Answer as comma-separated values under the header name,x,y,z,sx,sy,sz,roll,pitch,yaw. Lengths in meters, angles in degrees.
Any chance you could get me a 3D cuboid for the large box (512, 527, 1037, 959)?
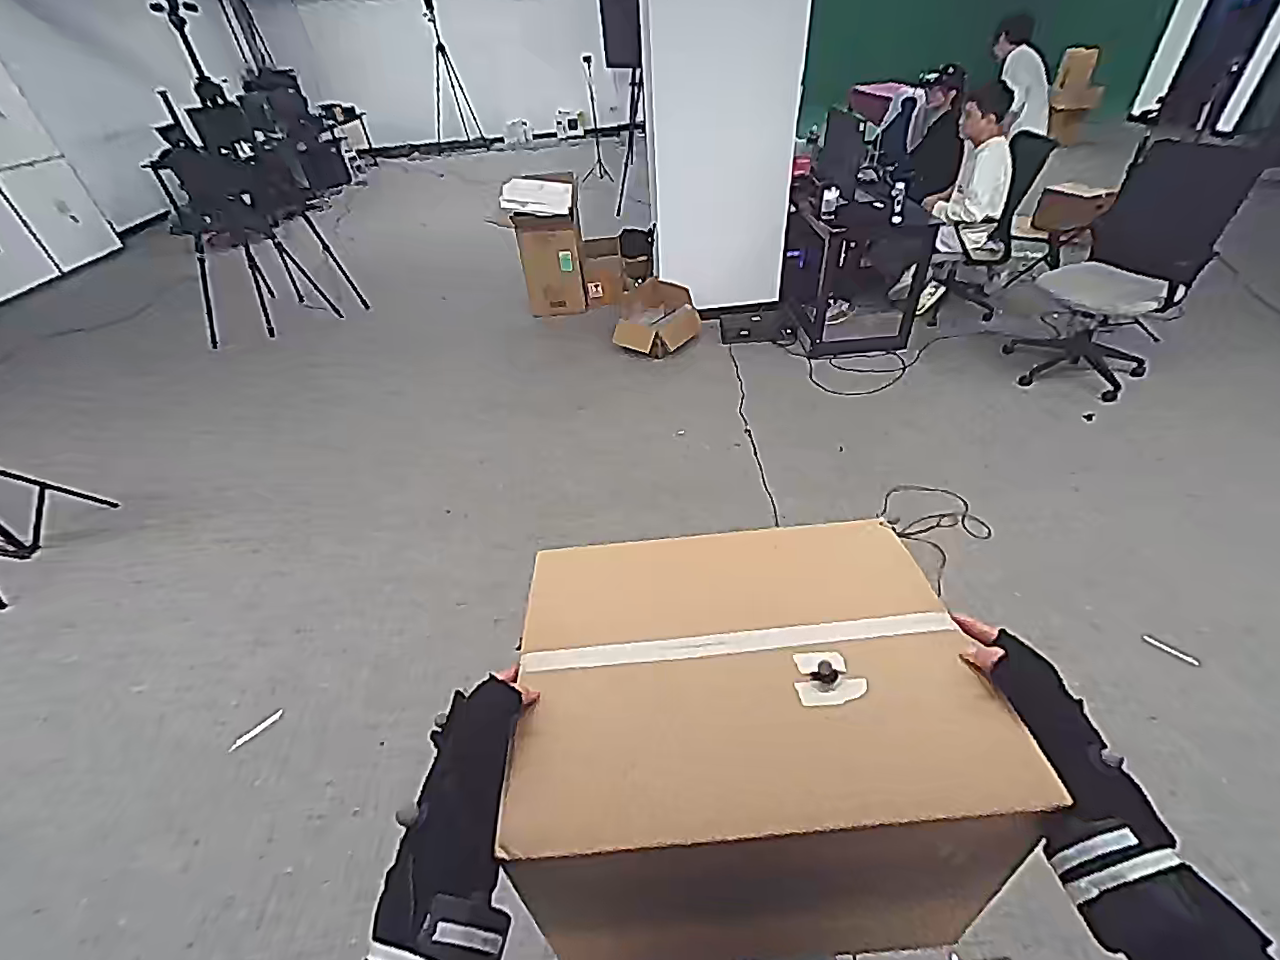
name,x,y,z,sx,sy,sz,roll,pitch,yaw
large box,0.102,0.284,0.604,0.408,0.320,0.320,-5,36,0
